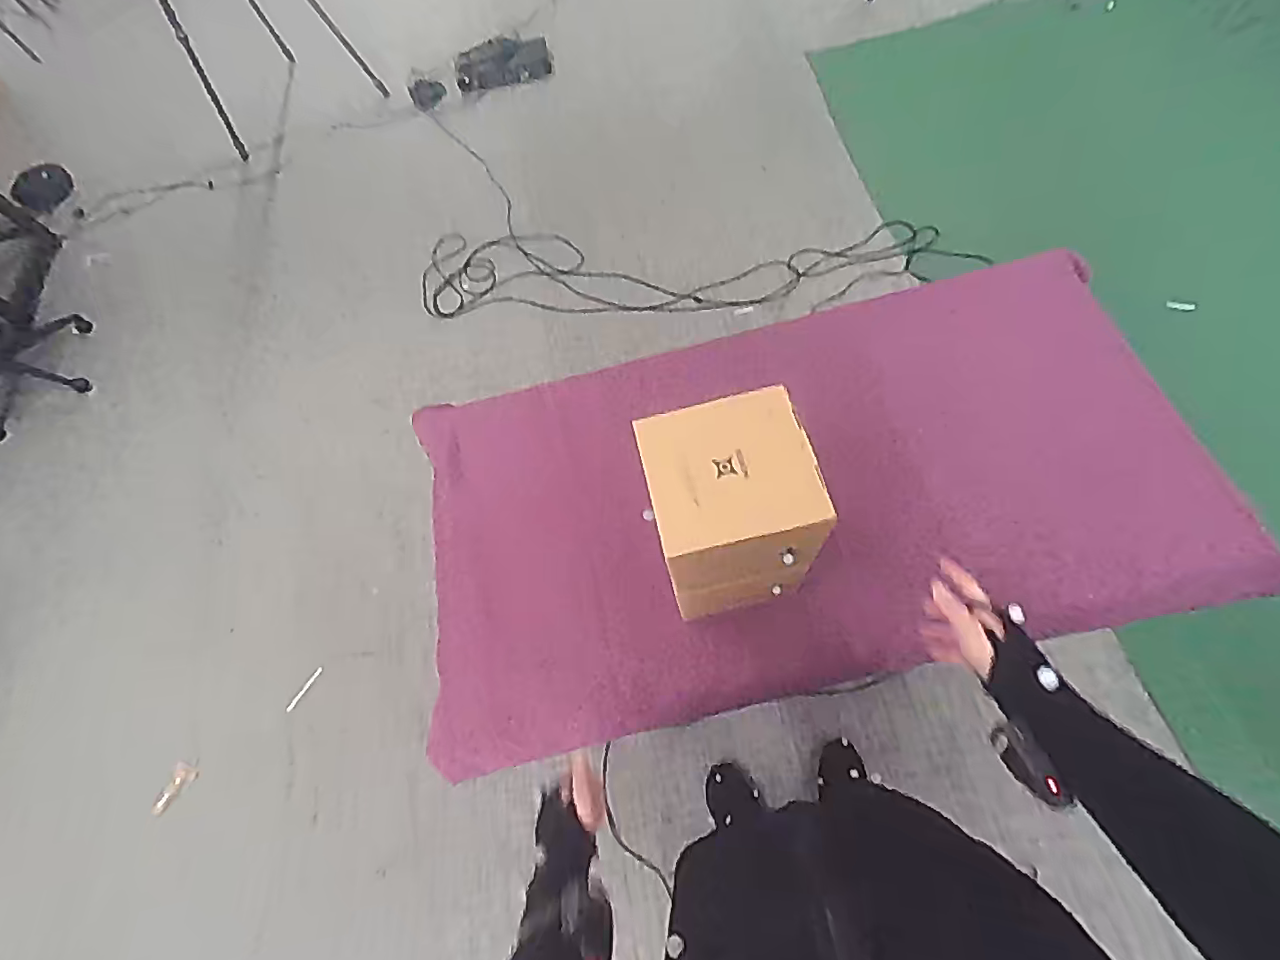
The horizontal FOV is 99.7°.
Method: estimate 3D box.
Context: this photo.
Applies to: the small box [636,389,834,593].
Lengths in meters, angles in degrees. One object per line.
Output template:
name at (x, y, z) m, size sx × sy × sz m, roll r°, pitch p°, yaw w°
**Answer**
small box at (0.103, 0.022, 0.638) m, size 0.179 × 0.176 × 0.168 m, roll -14°, pitch 63°, yaw 3°
